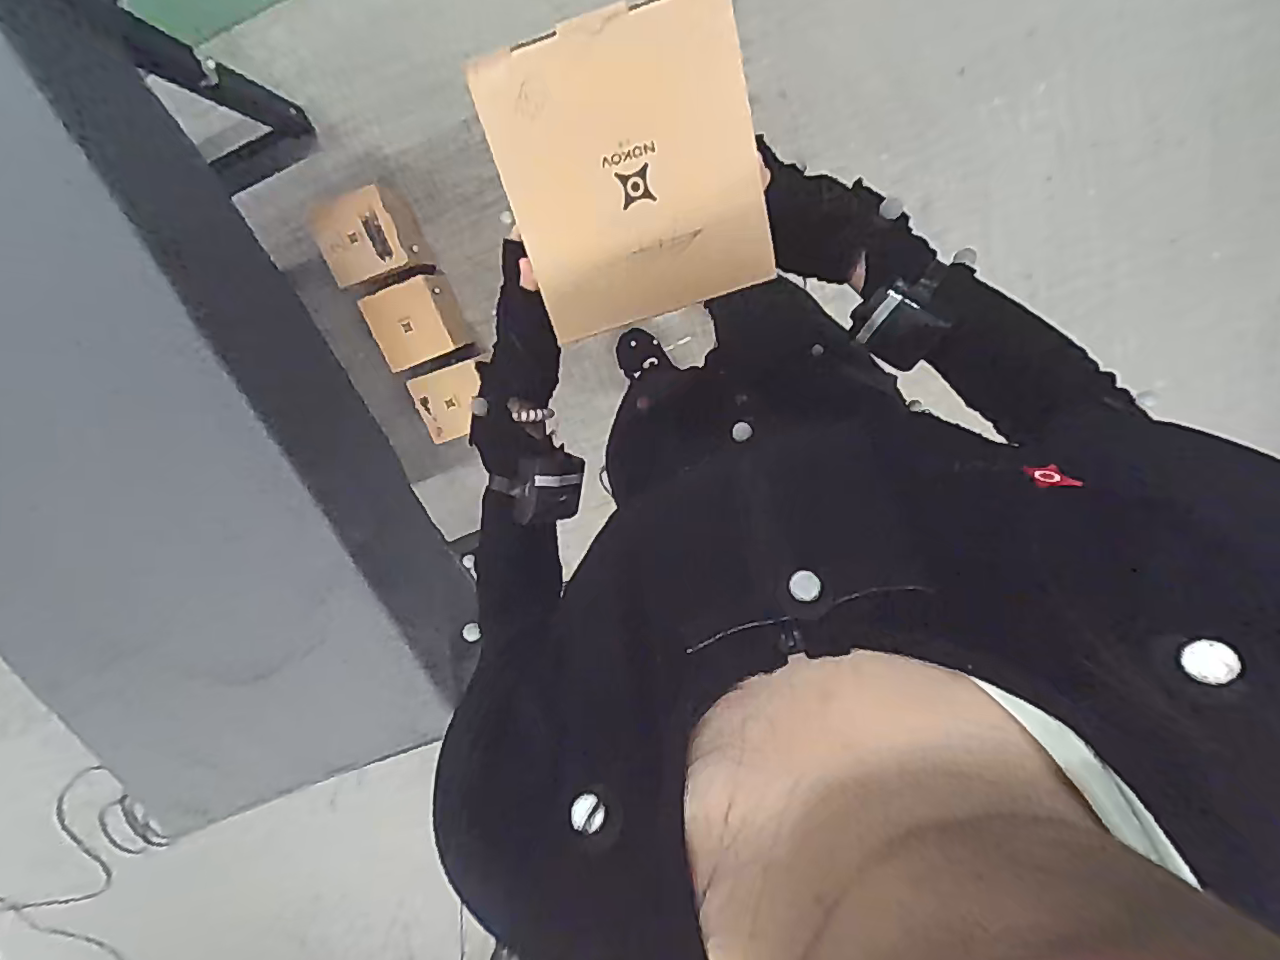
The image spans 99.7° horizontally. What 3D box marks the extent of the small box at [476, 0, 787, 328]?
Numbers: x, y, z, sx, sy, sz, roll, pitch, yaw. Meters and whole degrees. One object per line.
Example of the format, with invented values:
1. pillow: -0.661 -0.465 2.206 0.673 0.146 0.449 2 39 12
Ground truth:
1. small box: -0.004 -0.232 0.411 0.168 0.176 0.179 -15 115 2
